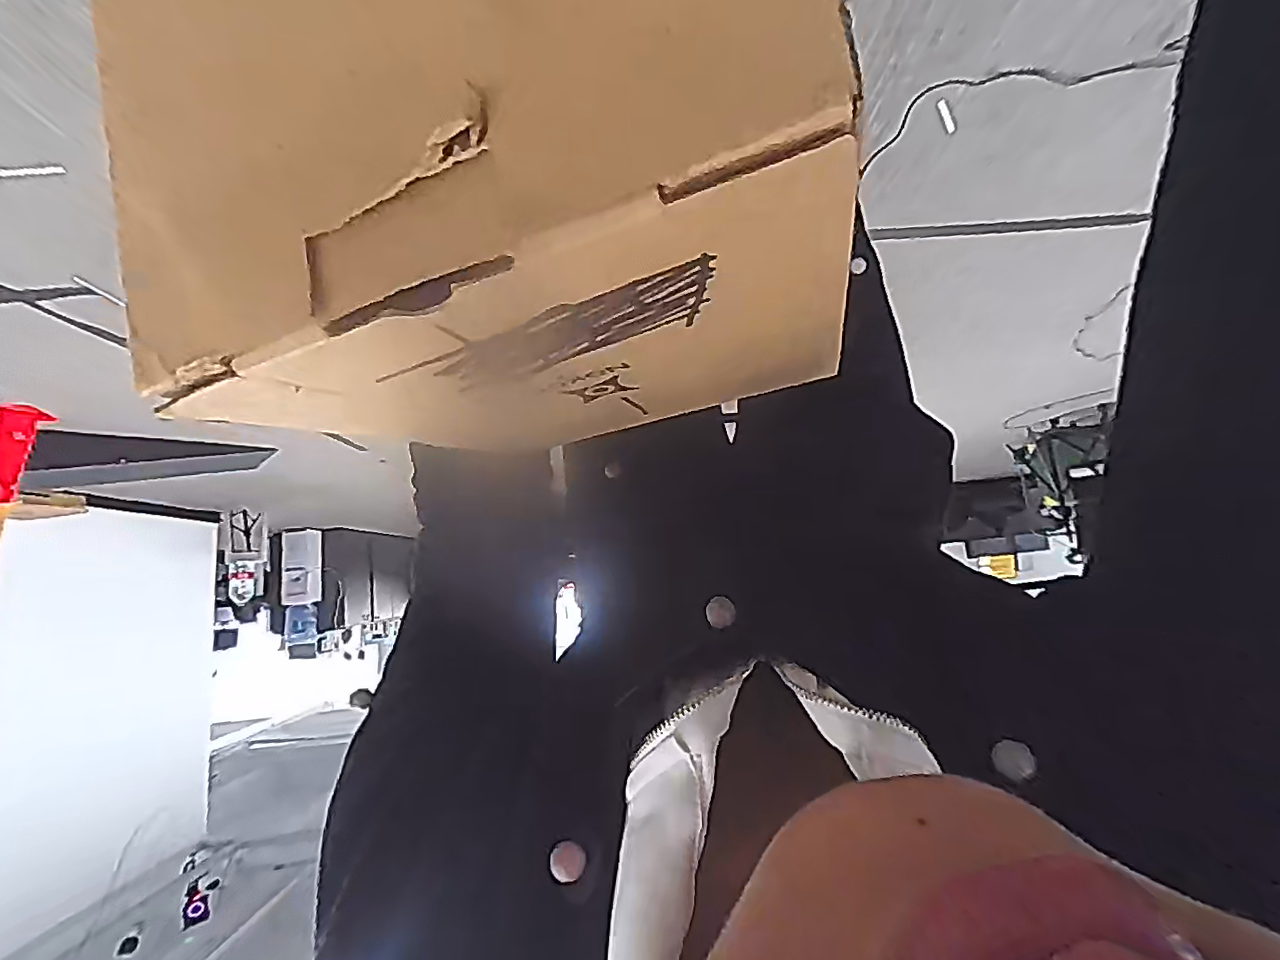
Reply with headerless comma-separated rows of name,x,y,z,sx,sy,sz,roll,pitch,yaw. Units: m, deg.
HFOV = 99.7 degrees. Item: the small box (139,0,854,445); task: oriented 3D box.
small box,-0.032,-0.119,0.193,0.168,0.176,0.179,-12,175,18
